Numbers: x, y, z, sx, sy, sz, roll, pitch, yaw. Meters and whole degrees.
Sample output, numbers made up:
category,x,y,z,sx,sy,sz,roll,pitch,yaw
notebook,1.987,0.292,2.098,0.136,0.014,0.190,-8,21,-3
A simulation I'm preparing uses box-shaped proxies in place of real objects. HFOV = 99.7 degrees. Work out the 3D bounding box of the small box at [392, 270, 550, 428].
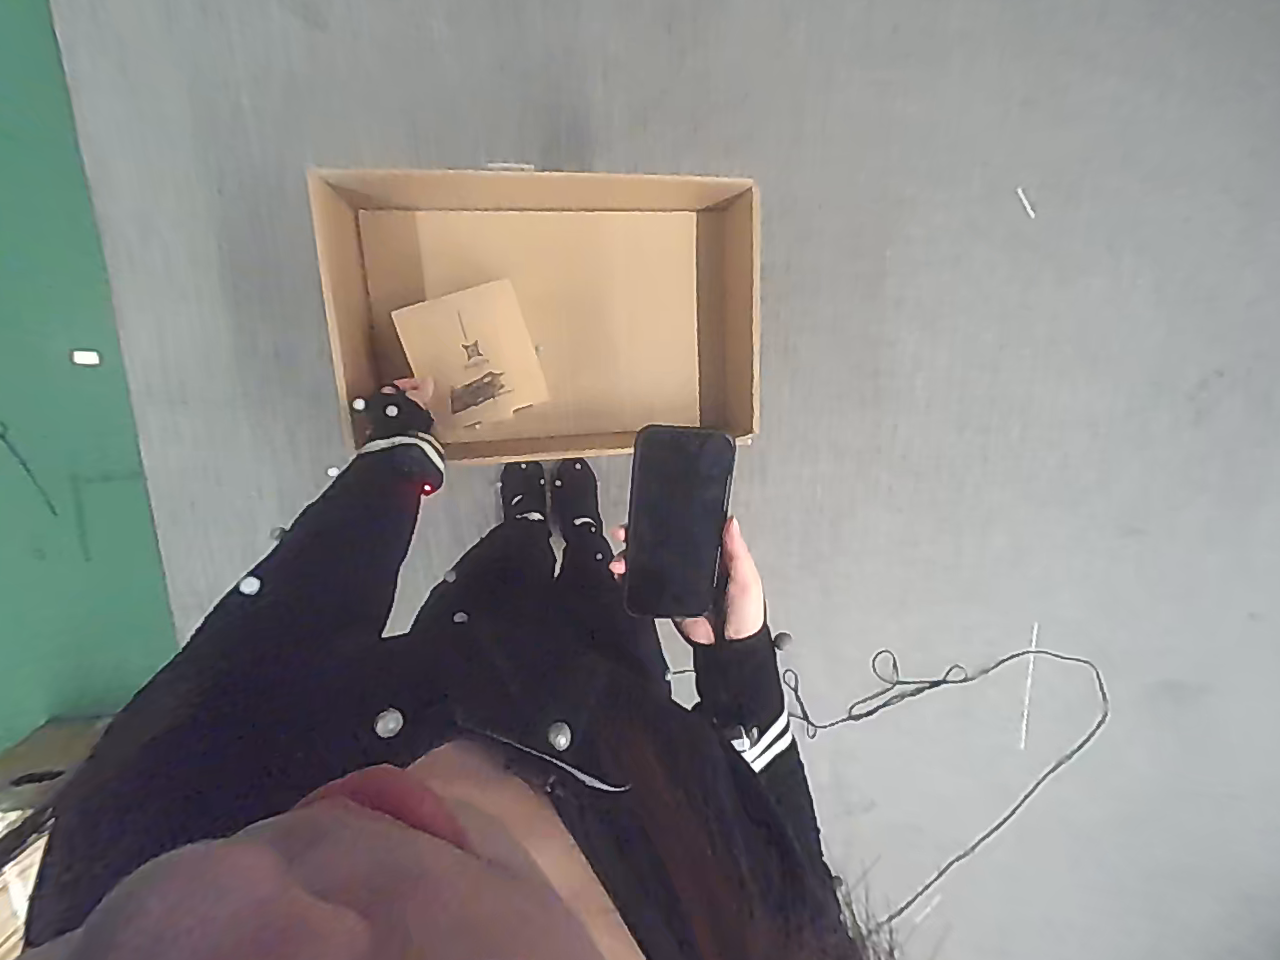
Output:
category,x,y,z,sx,sy,sz,roll,pitch,yaw
small box,-0.238,-0.192,0.815,0.168,0.176,0.179,-20,103,-6
